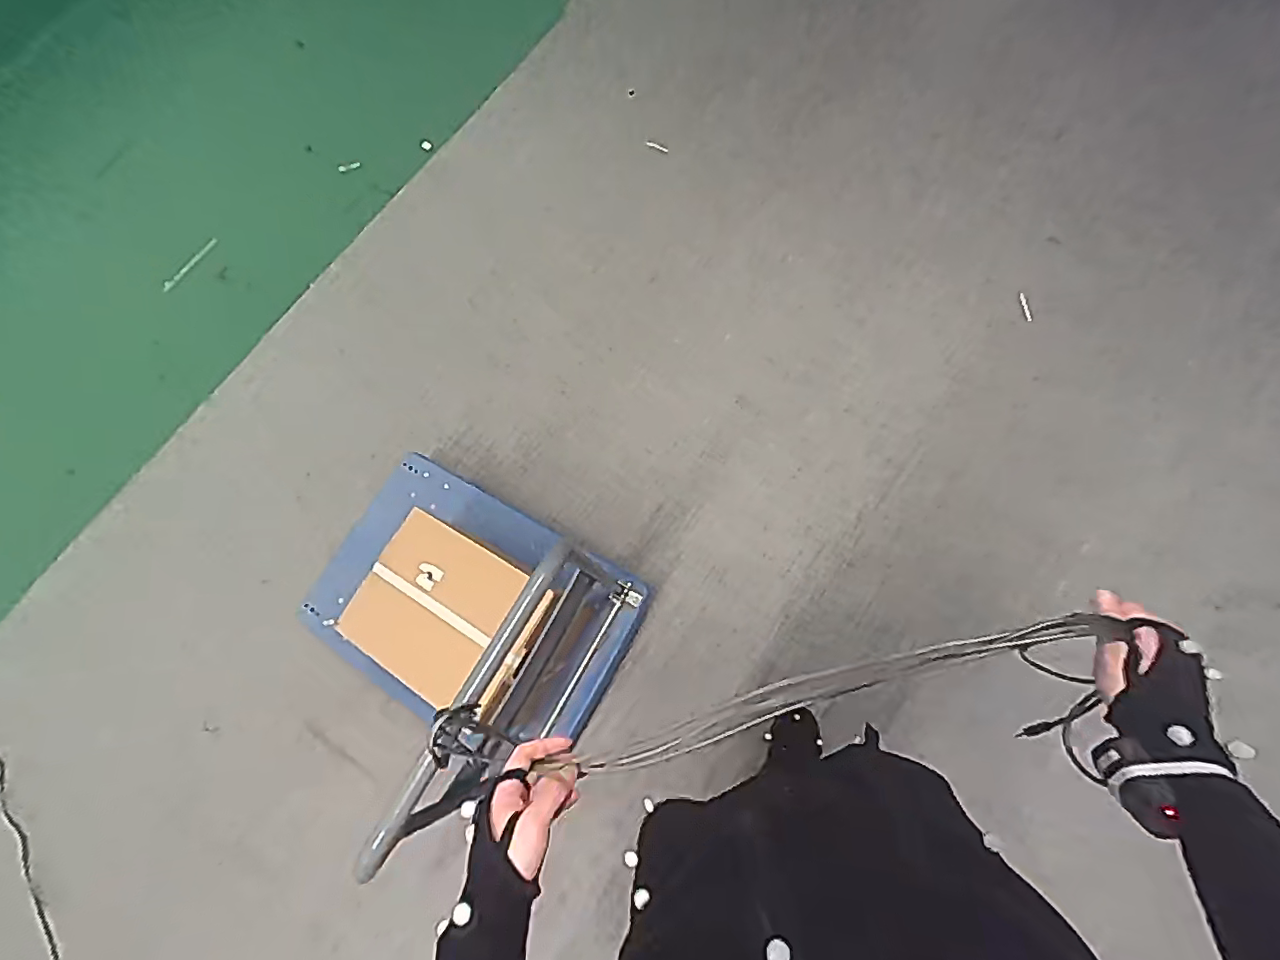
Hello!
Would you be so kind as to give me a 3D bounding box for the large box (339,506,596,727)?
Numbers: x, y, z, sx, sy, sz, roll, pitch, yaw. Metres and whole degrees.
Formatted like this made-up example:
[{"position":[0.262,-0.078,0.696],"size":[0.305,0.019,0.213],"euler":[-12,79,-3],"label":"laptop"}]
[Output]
[{"position":[-0.376,0.313,1.260],"size":[0.408,0.320,0.320],"euler":[27,78,20],"label":"large box"}]
